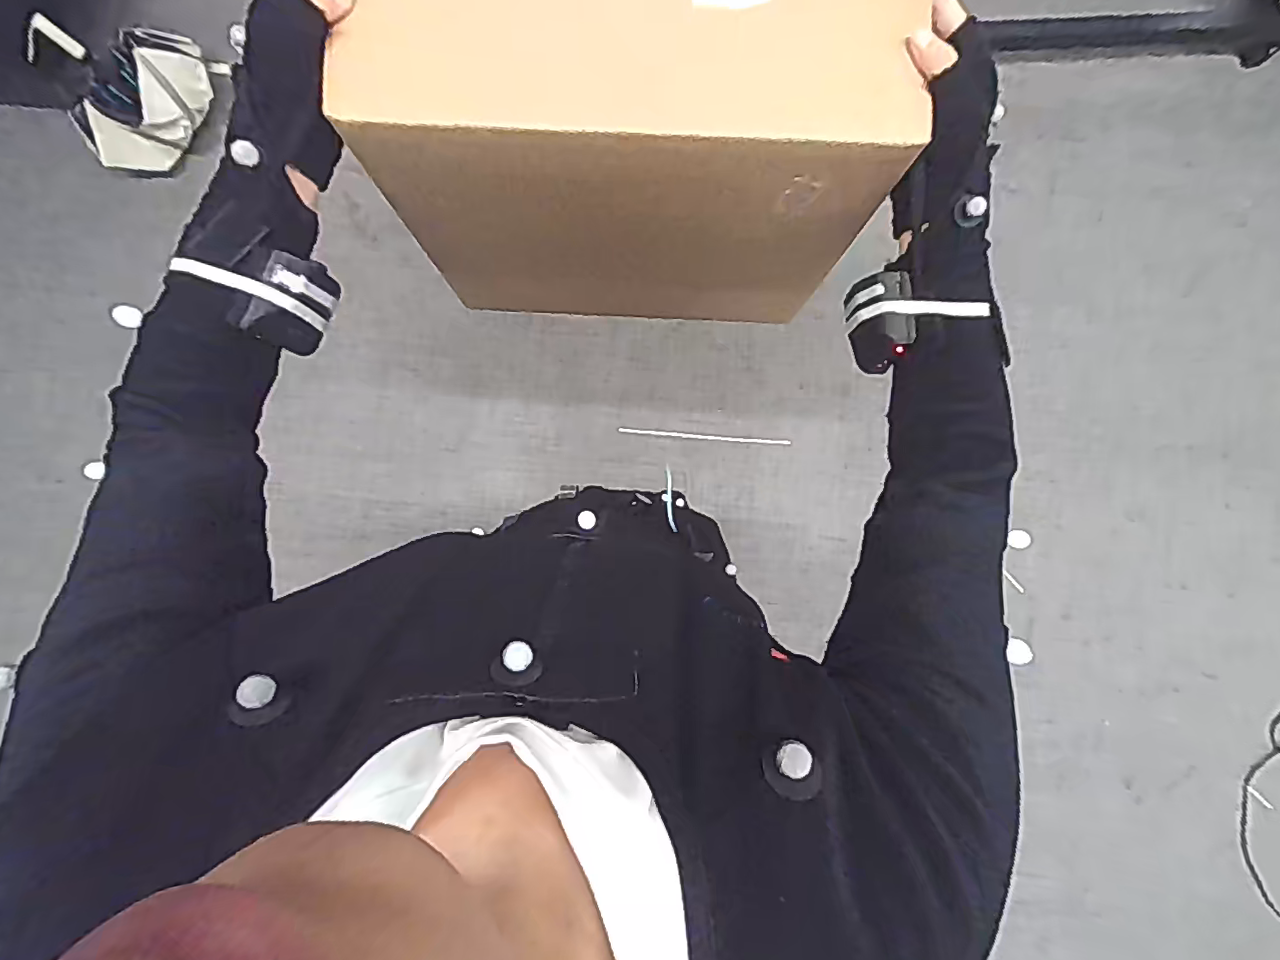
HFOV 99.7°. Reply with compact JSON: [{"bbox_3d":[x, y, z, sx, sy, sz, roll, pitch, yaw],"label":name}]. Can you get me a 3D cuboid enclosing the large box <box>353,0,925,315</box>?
[{"bbox_3d":[-0.002,-0.373,0.536,0.408,0.320,0.320,2,84,-2],"label":"large box"}]
